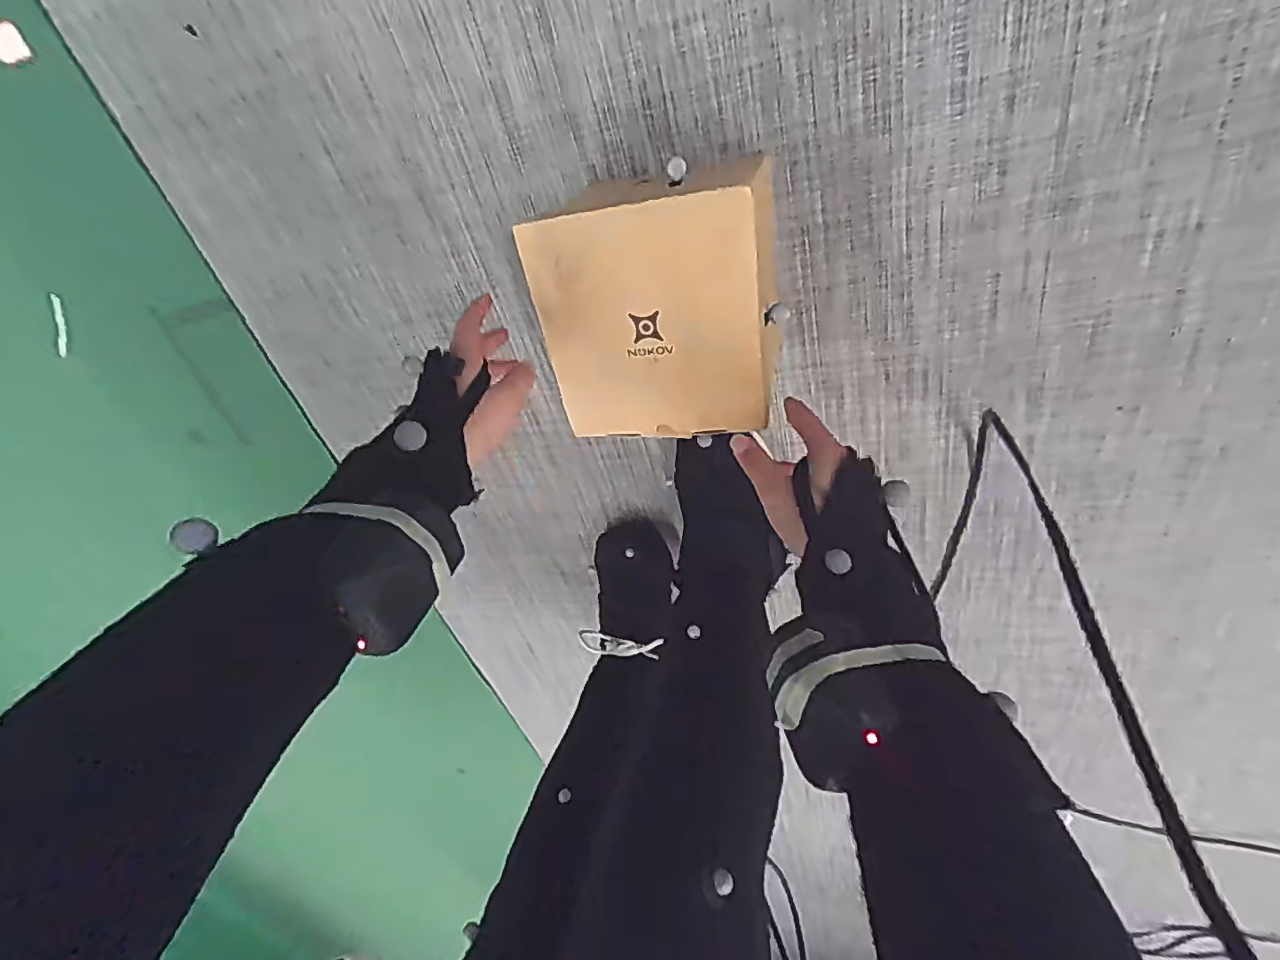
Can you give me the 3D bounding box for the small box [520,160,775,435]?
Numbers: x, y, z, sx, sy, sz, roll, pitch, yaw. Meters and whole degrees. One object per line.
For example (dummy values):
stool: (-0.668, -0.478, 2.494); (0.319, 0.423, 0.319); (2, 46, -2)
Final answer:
small box: (0.026, -0.158, 0.460); (0.168, 0.176, 0.179); (-1, 126, 18)
